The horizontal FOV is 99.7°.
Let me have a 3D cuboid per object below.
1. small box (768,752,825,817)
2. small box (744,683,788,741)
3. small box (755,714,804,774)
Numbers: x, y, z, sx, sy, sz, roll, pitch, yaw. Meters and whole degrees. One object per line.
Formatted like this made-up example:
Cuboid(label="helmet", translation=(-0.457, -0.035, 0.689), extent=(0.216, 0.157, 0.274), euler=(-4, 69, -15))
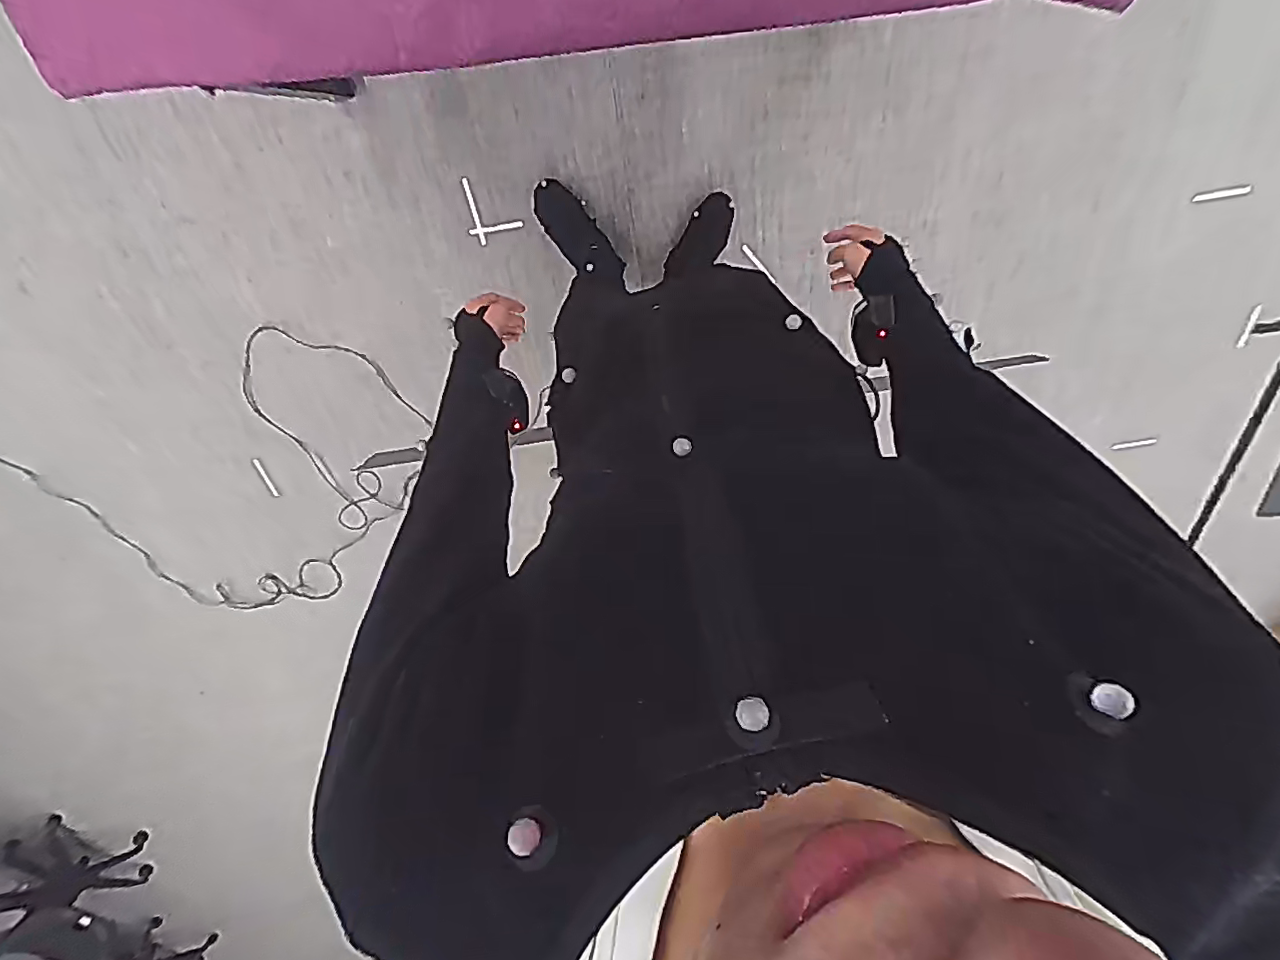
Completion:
Cuboid(label="small box", translation=(0.637, 1.244, 2.218), extent=(0.179, 0.176, 0.168), euler=(-9, 124, -1))
Cuboid(label="small box", translation=(0.586, 1.066, 2.487), extent=(0.168, 0.176, 0.179), euler=(-15, 123, 3))
Cuboid(label="small box", translation=(0.608, 1.149, 2.347), extent=(0.168, 0.176, 0.179), euler=(-14, 123, 2))
